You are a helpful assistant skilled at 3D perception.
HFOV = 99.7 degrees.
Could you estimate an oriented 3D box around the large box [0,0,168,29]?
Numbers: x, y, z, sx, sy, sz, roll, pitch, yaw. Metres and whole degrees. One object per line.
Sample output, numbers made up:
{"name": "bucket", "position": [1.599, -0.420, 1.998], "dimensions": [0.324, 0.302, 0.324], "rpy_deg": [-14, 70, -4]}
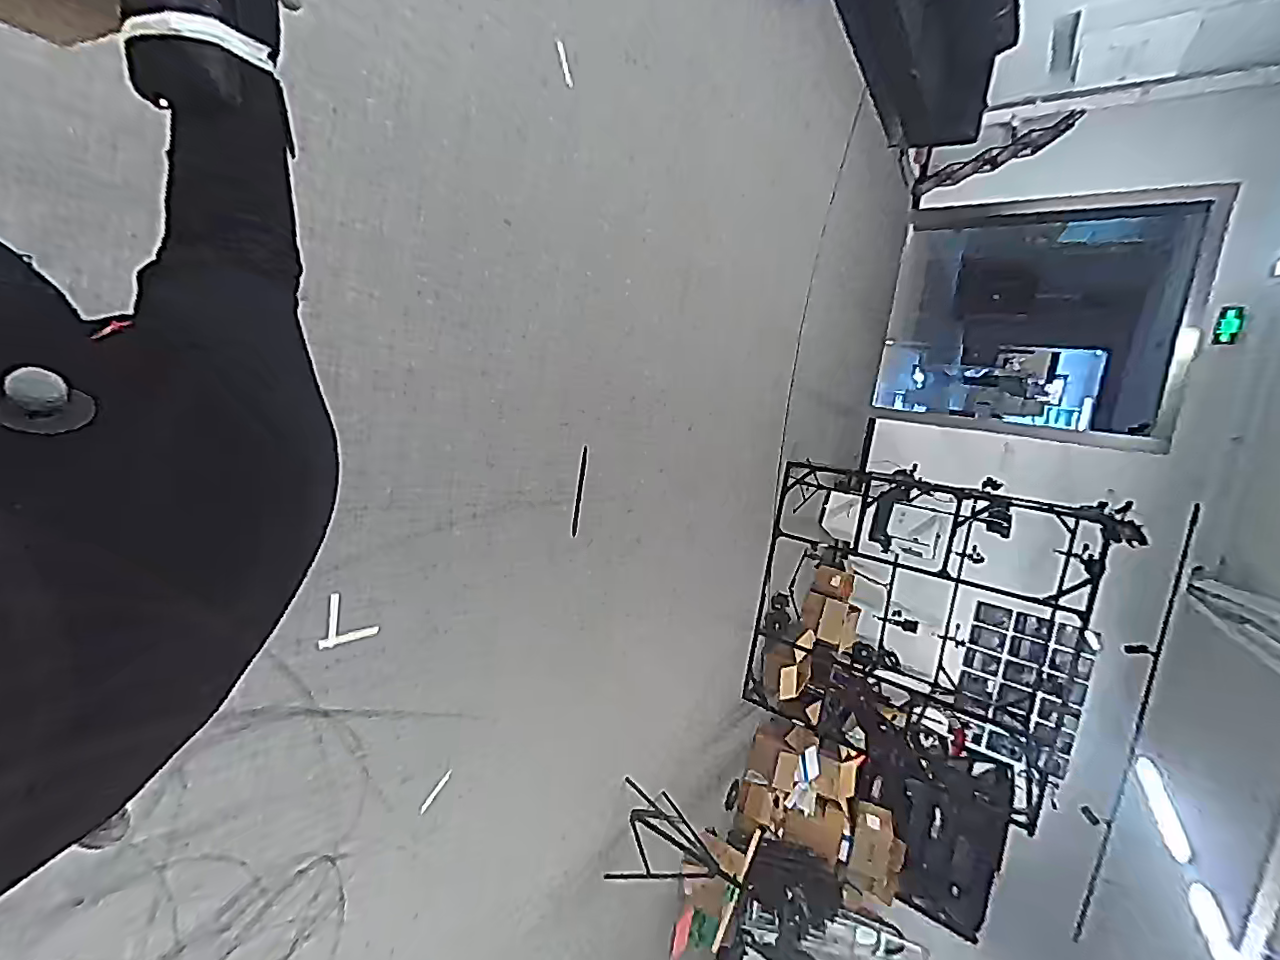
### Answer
{"name": "large box", "position": [-0.511, -0.492, 0.237], "dimensions": [0.408, 0.320, 0.320], "rpy_deg": [-10, 120, -55]}
